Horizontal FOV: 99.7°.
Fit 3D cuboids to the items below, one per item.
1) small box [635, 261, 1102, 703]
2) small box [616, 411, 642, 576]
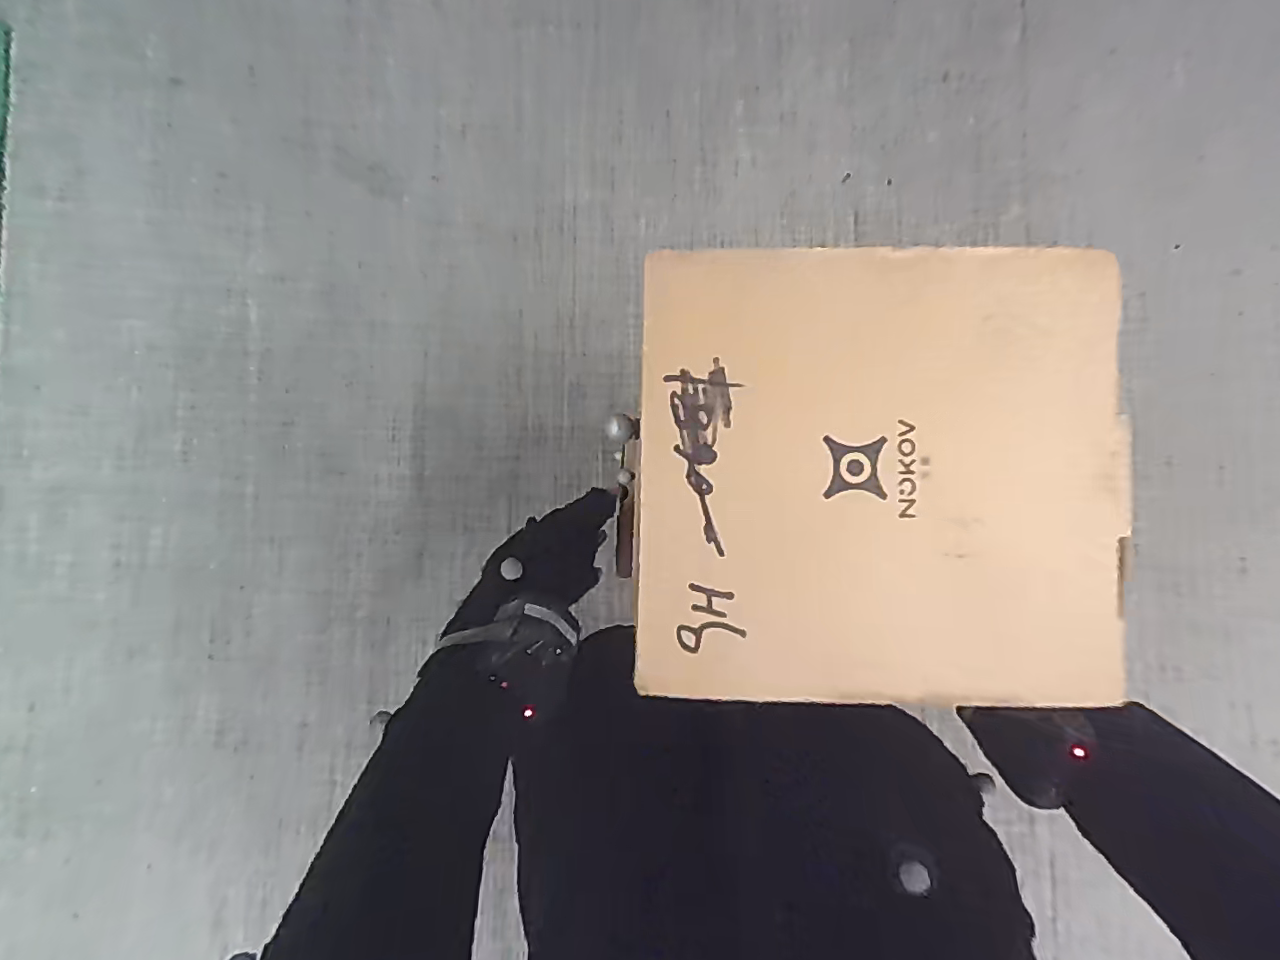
[{"bbox_3d":[0.088,0.003,0.285,0.179,0.176,0.168,1,86,1],"label":"small box"},{"bbox_3d":[0.068,0.023,0.610,0.179,0.176,0.168,3,87,0],"label":"small box"}]
